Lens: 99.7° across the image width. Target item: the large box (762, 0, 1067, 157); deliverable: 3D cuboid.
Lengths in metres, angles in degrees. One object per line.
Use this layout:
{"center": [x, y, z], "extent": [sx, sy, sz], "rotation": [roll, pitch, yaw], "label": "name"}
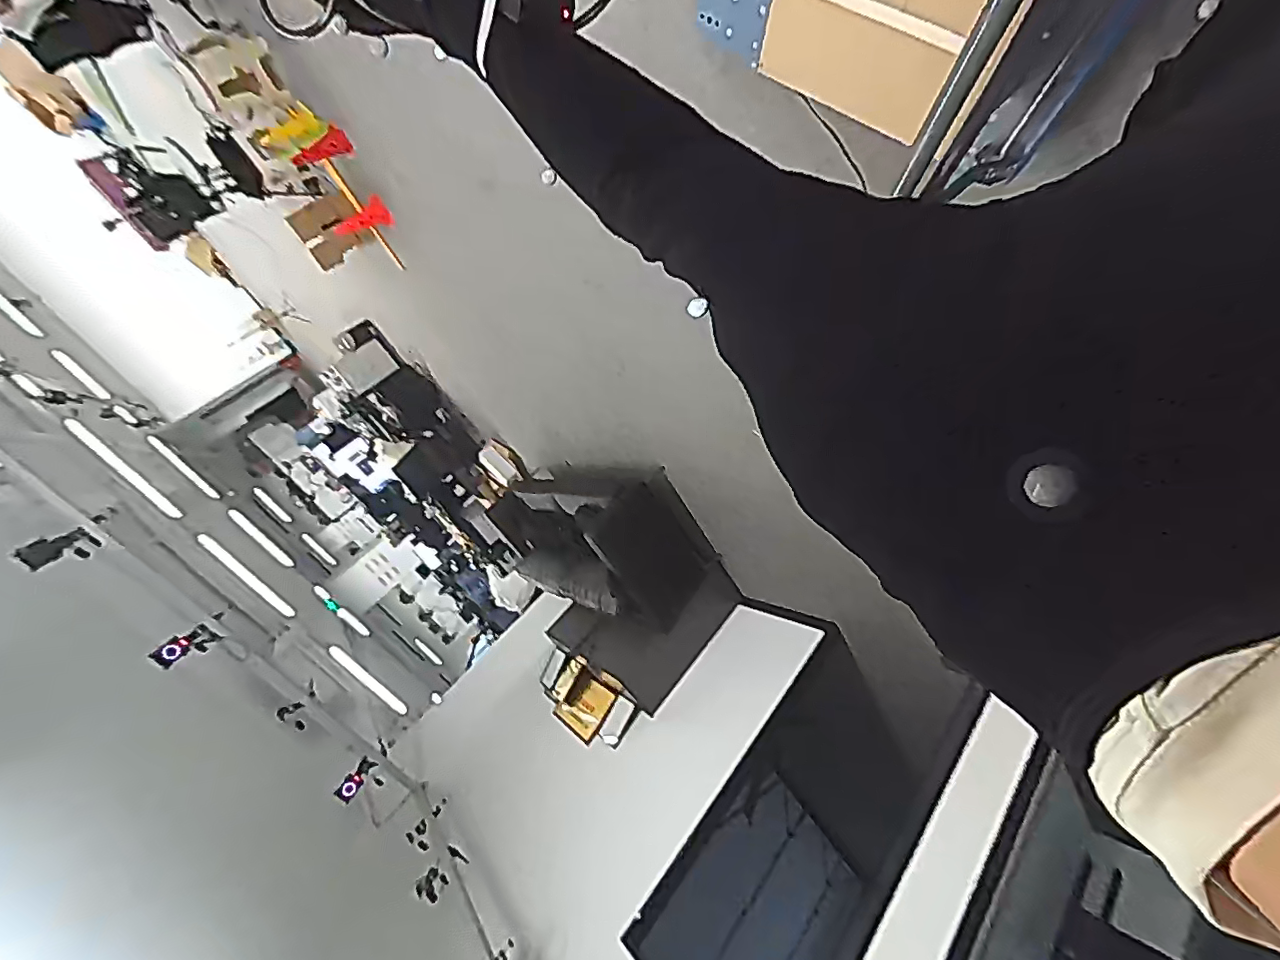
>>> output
{"center": [0.493, -0.849, 0.930], "extent": [0.408, 0.320, 0.320], "rotation": [39, 155, 16], "label": "large box"}
